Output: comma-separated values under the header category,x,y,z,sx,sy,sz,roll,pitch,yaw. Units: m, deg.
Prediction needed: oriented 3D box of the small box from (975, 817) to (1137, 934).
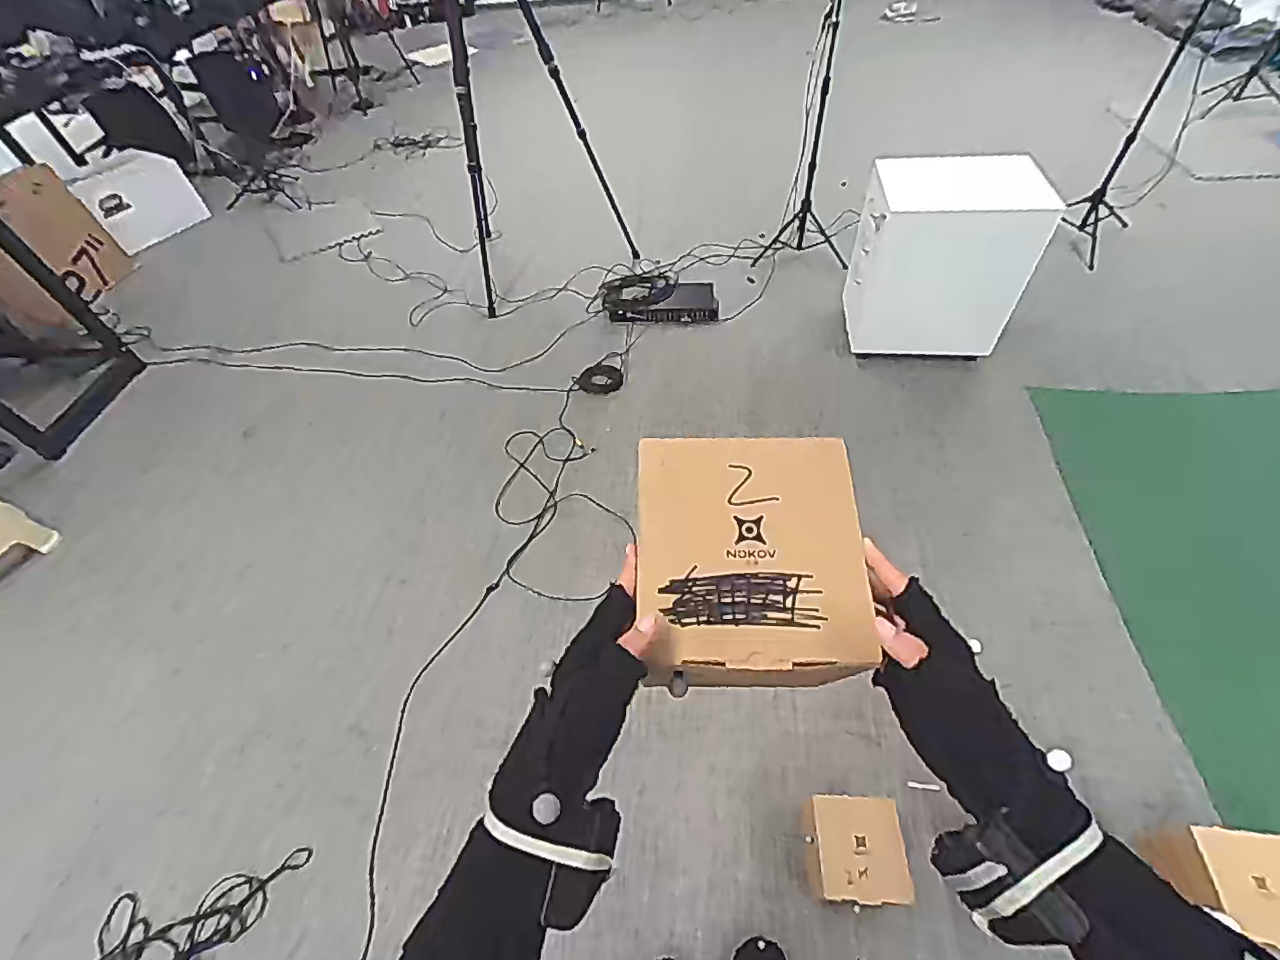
category,x,y,z,sx,sy,sz,roll,pitch,yaw
small box,0.811,0.788,1.078,0.168,0.176,0.179,-1,50,4

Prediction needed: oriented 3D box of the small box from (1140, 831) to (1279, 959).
category,x,y,z,sx,sy,sz,roll,pitch,yaw
small box,1.133,0.800,1.043,0.168,0.176,0.179,3,52,8

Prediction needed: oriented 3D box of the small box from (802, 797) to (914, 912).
category,x,y,z,sx,sy,sz,roll,pitch,yaw
small box,0.438,0.774,1.118,0.168,0.176,0.179,0,52,6
